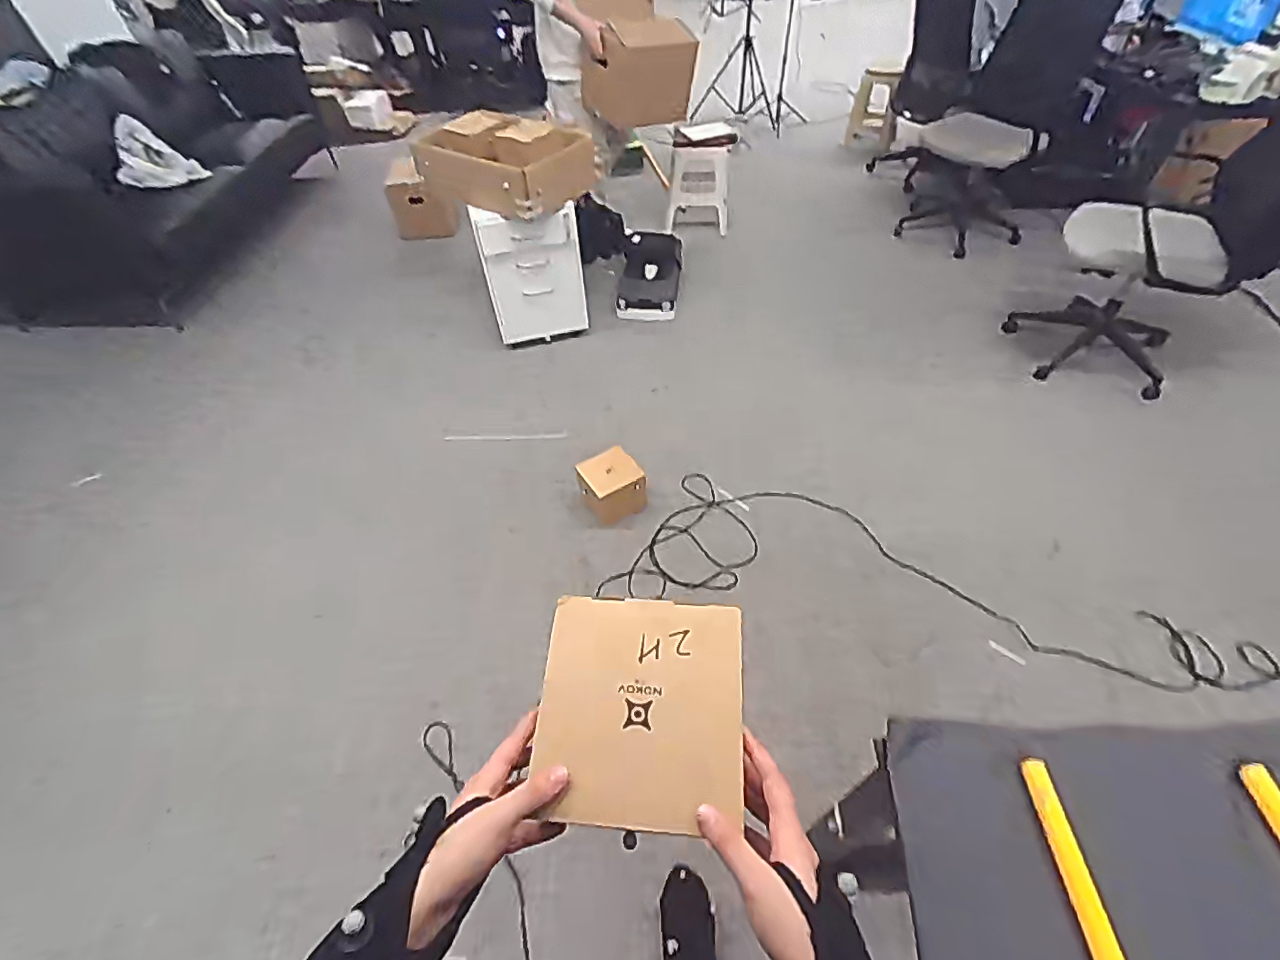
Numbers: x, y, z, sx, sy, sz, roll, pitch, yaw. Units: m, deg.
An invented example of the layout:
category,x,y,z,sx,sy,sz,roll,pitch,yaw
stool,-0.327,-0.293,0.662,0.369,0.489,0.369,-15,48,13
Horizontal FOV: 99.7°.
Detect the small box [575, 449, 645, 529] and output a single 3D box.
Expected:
category,x,y,z,sx,sy,sz,roll,pitch,yaw
small box,-0.096,0.034,1.820,0.179,0.176,0.168,-28,53,-20
